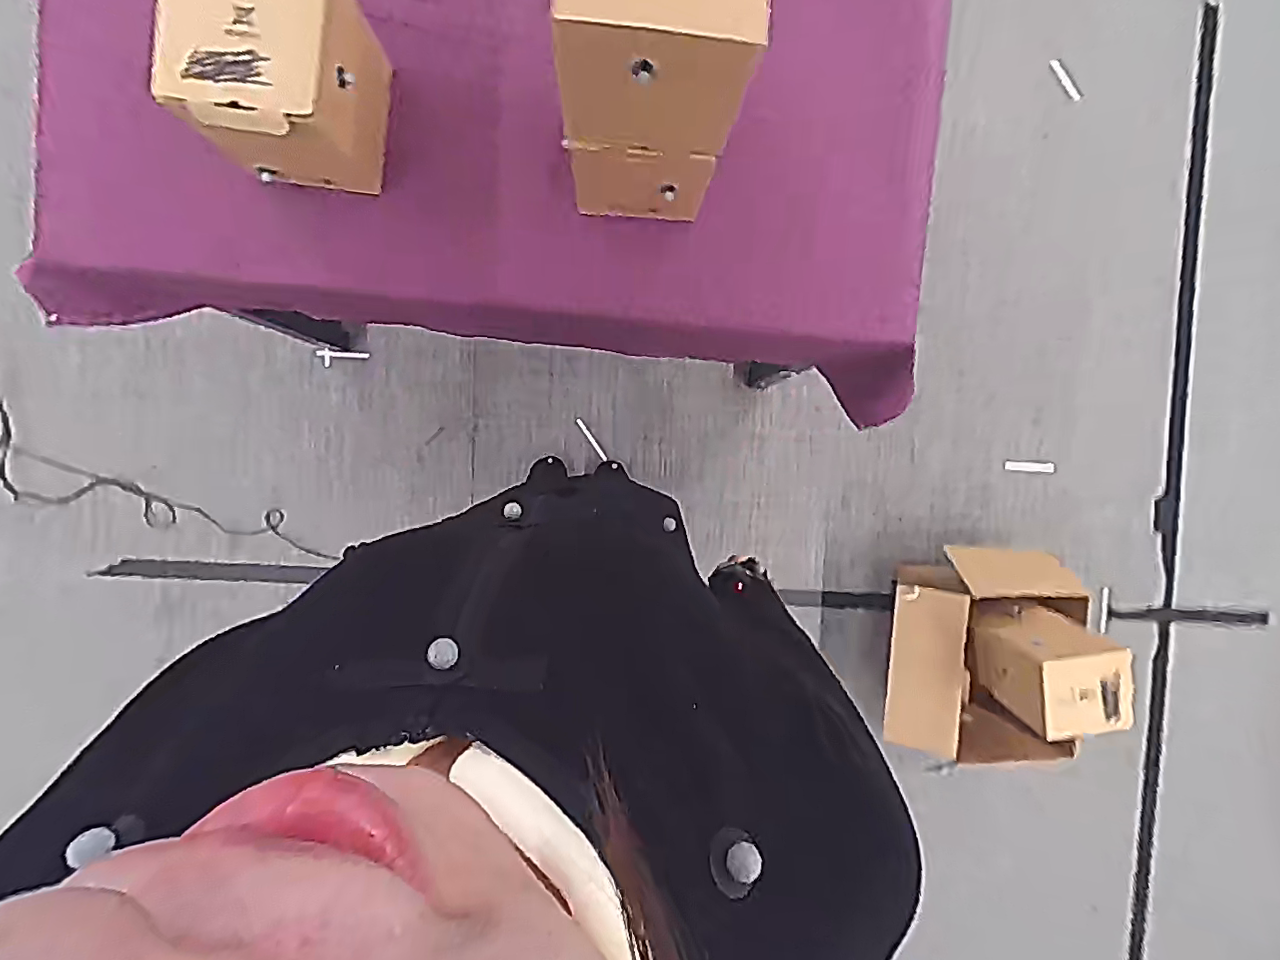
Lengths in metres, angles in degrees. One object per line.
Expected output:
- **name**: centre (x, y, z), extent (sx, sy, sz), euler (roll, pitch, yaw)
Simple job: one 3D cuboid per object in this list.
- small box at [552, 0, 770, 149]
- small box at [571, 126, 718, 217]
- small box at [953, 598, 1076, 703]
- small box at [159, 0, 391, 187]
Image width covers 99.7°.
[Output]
- **small box**: centre (0.018, -0.444, 0.508), extent (0.179, 0.176, 0.168), euler (4, 93, -4)
- **small box**: centre (0.007, -0.451, 0.672), extent (0.168, 0.176, 0.179), euler (3, 92, -4)
- **small box**: centre (0.901, 0.403, 1.318), extent (0.168, 0.176, 0.179), euler (-18, 97, 1)
- **small box**: centre (-0.415, -0.481, 0.644), extent (0.168, 0.176, 0.179), euler (6, 92, -4)
